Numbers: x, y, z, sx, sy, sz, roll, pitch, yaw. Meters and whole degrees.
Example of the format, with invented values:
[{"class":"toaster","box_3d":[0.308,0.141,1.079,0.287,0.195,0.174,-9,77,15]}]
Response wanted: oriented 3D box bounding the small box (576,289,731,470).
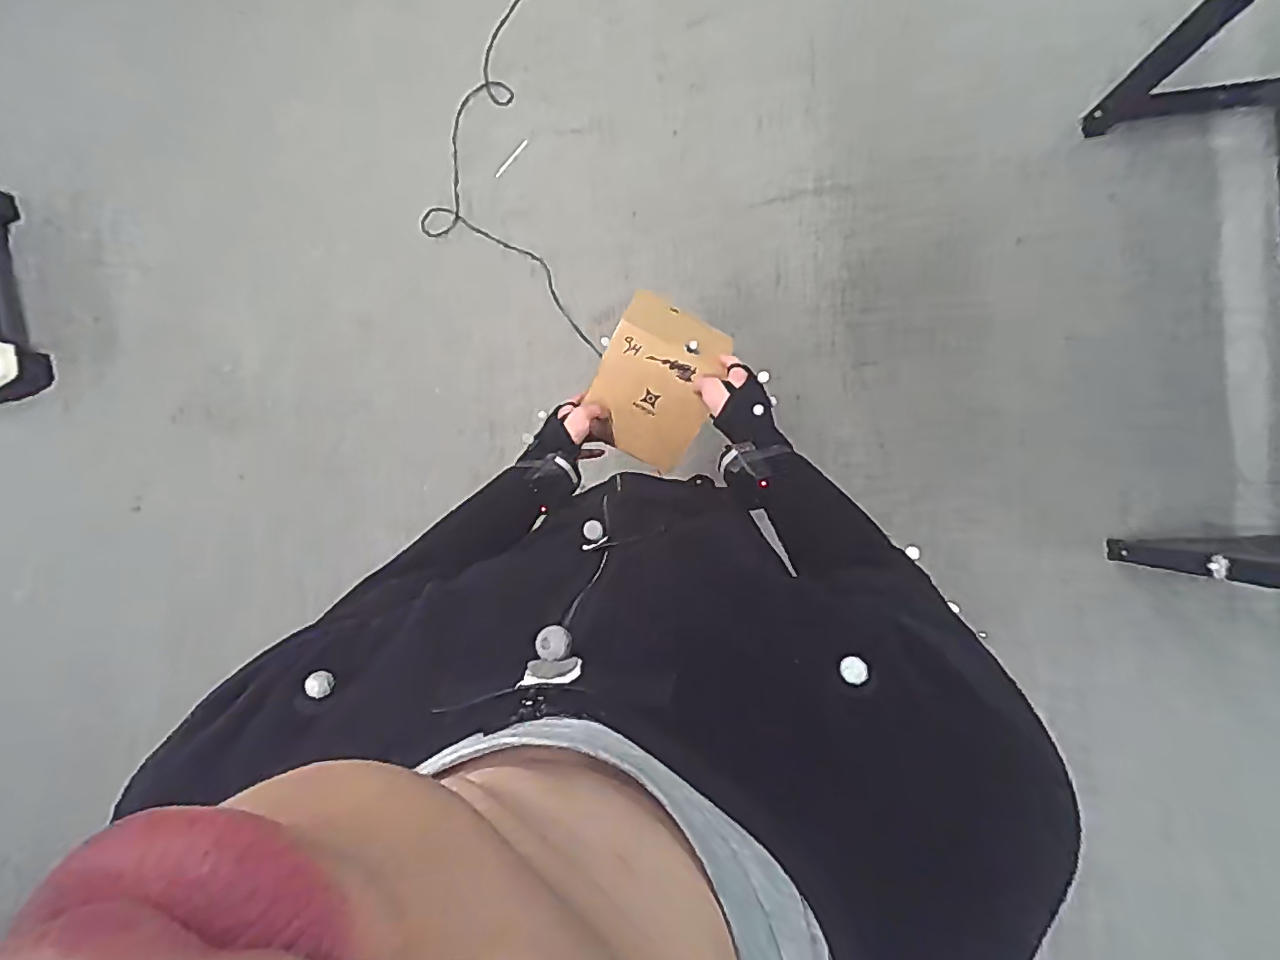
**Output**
[{"class":"small box","box_3d":[0.028,-0.154,0.808,0.168,0.176,0.179,27,124,-7]}]
